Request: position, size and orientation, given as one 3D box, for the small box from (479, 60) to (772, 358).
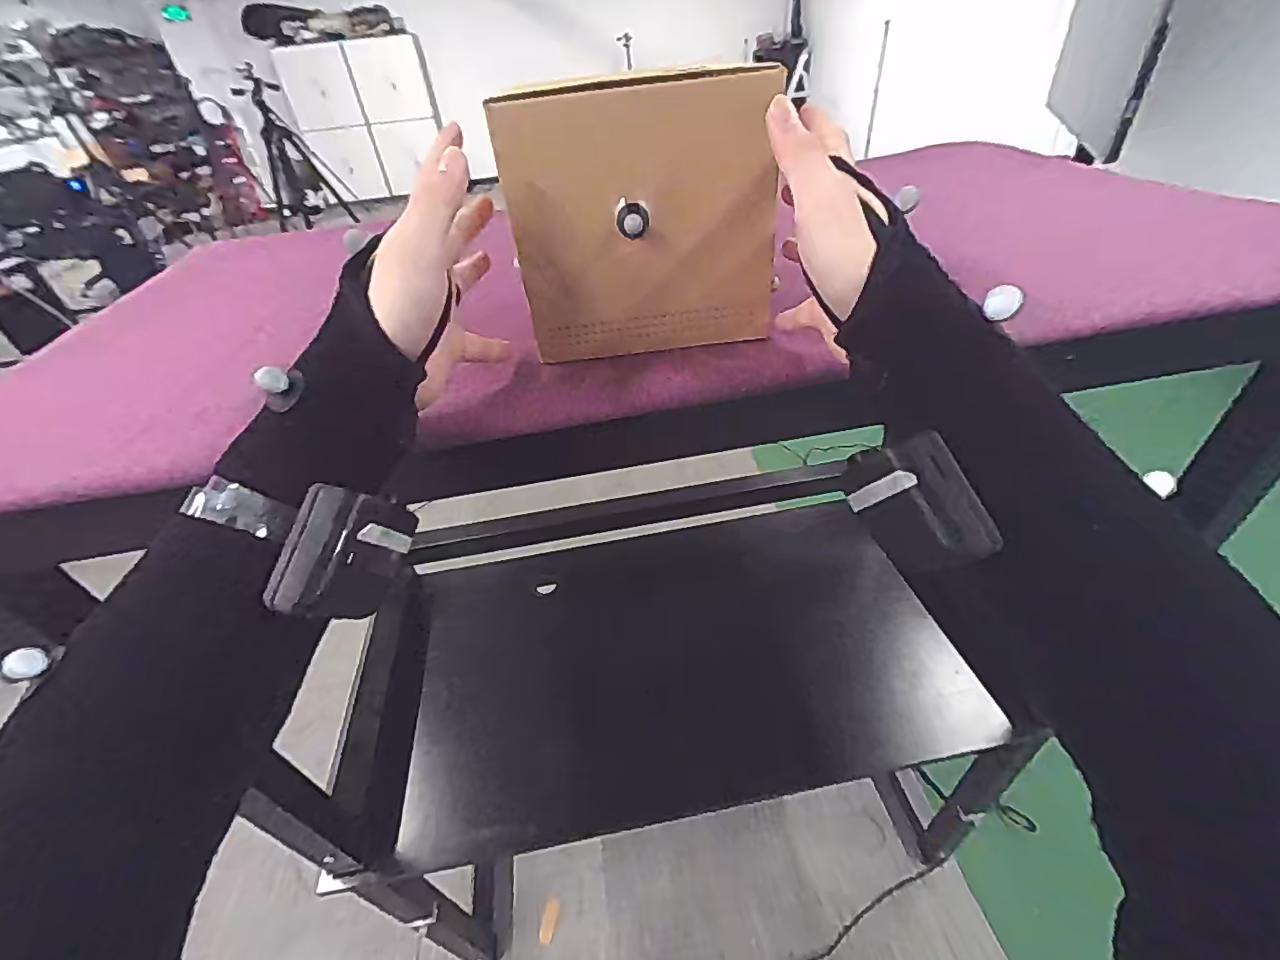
[{"bbox_3d":[-0.006,-0.213,0.426,0.179,0.176,0.168,-7,38,1],"label":"small box"}]
